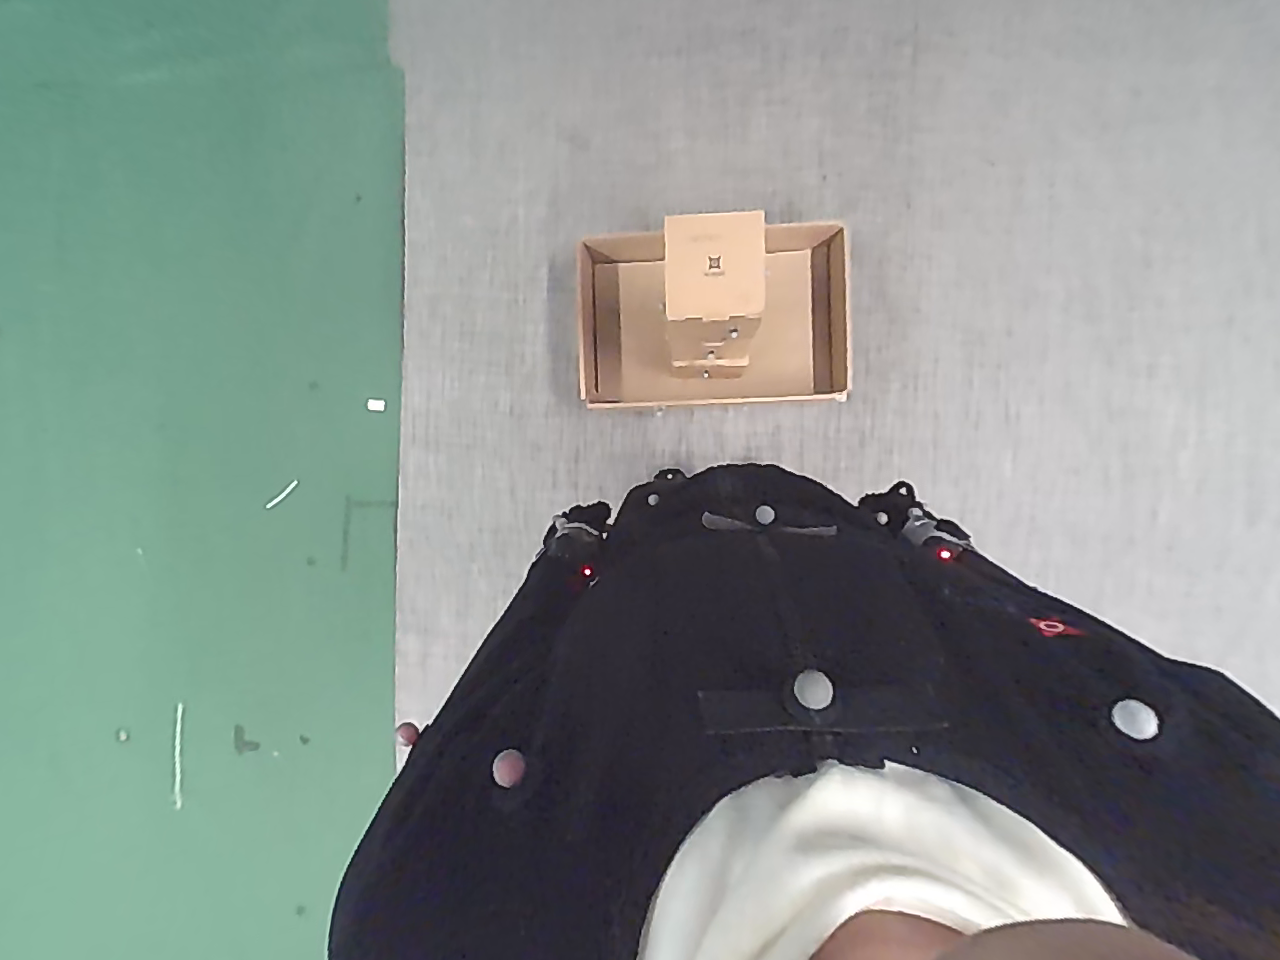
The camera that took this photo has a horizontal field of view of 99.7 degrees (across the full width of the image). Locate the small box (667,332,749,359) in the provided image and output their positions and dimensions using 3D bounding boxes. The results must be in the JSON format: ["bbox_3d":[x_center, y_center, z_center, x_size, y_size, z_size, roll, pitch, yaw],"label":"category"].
[{"bbox_3d":[0.144,-0.362,1.158,0.168,0.176,0.179,-3,90,6],"label":"small box"}]

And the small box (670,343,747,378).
[{"bbox_3d":[0.166,-0.347,1.317,0.179,0.176,0.168,2,90,6],"label":"small box"}]

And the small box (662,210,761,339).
[{"bbox_3d":[0.126,-0.358,0.977,0.168,0.176,0.179,-1,89,4],"label":"small box"}]
